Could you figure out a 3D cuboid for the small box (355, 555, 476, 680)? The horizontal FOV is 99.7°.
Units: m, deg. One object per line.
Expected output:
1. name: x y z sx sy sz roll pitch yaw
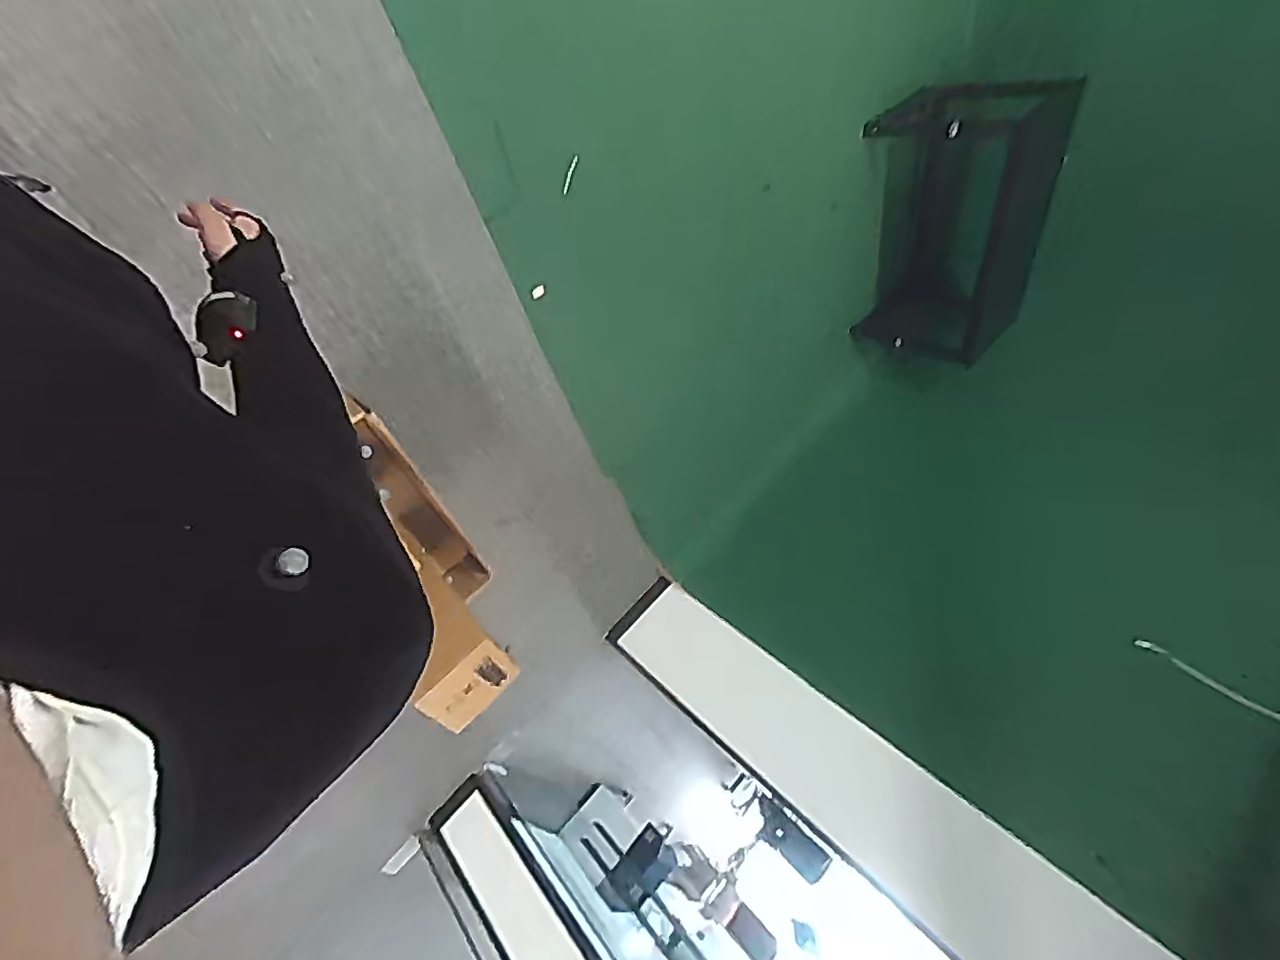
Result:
1. small box: -0.515 0.307 1.228 0.179 0.176 0.168 -43 140 -21
